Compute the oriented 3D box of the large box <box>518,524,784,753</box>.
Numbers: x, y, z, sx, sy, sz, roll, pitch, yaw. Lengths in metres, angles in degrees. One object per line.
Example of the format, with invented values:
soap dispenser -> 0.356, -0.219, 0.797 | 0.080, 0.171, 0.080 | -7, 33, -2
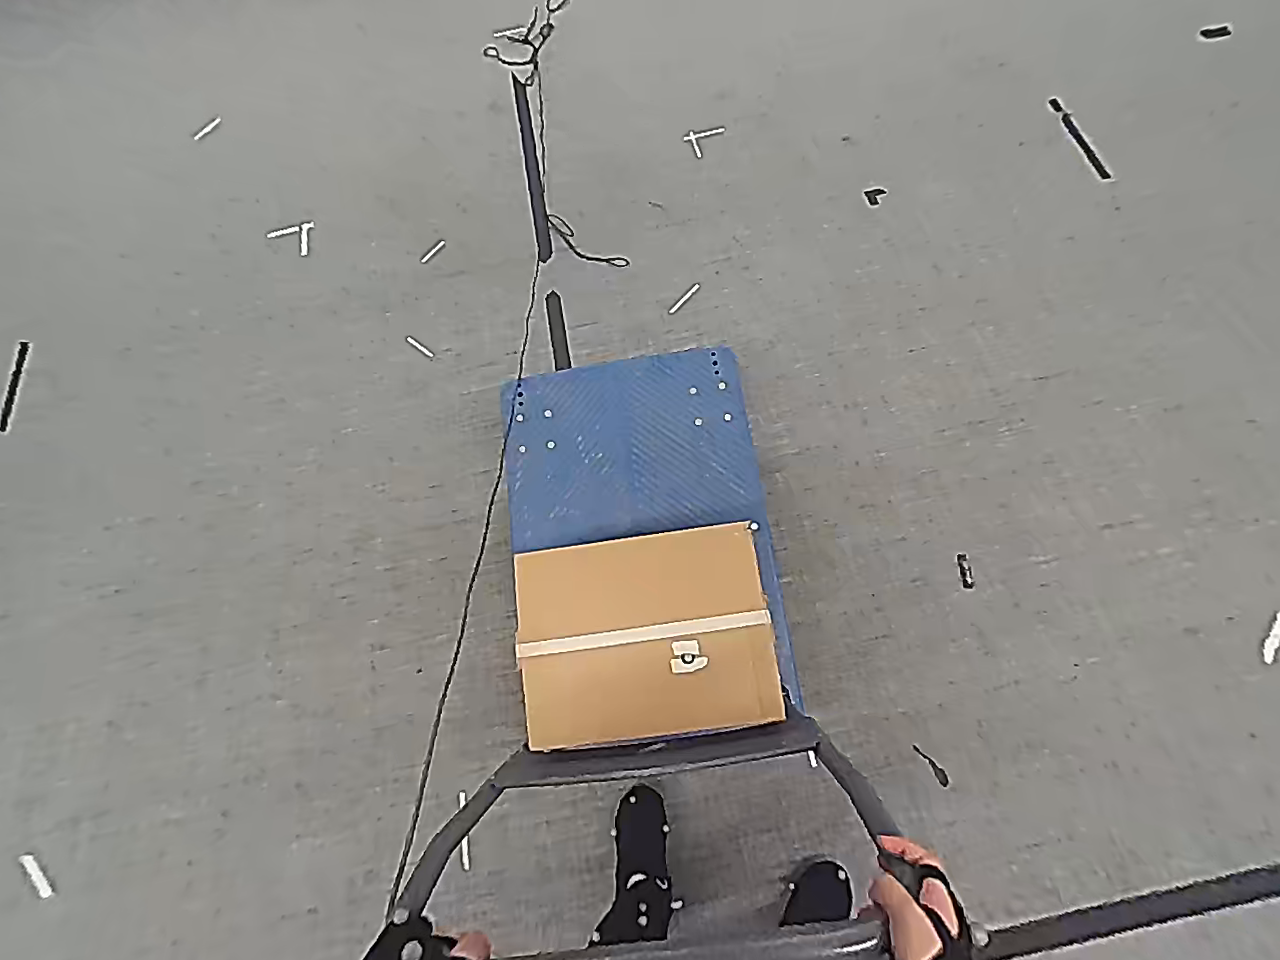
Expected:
large box -> 0.017, 0.288, 1.025 | 0.408, 0.320, 0.320 | -9, 77, 2
